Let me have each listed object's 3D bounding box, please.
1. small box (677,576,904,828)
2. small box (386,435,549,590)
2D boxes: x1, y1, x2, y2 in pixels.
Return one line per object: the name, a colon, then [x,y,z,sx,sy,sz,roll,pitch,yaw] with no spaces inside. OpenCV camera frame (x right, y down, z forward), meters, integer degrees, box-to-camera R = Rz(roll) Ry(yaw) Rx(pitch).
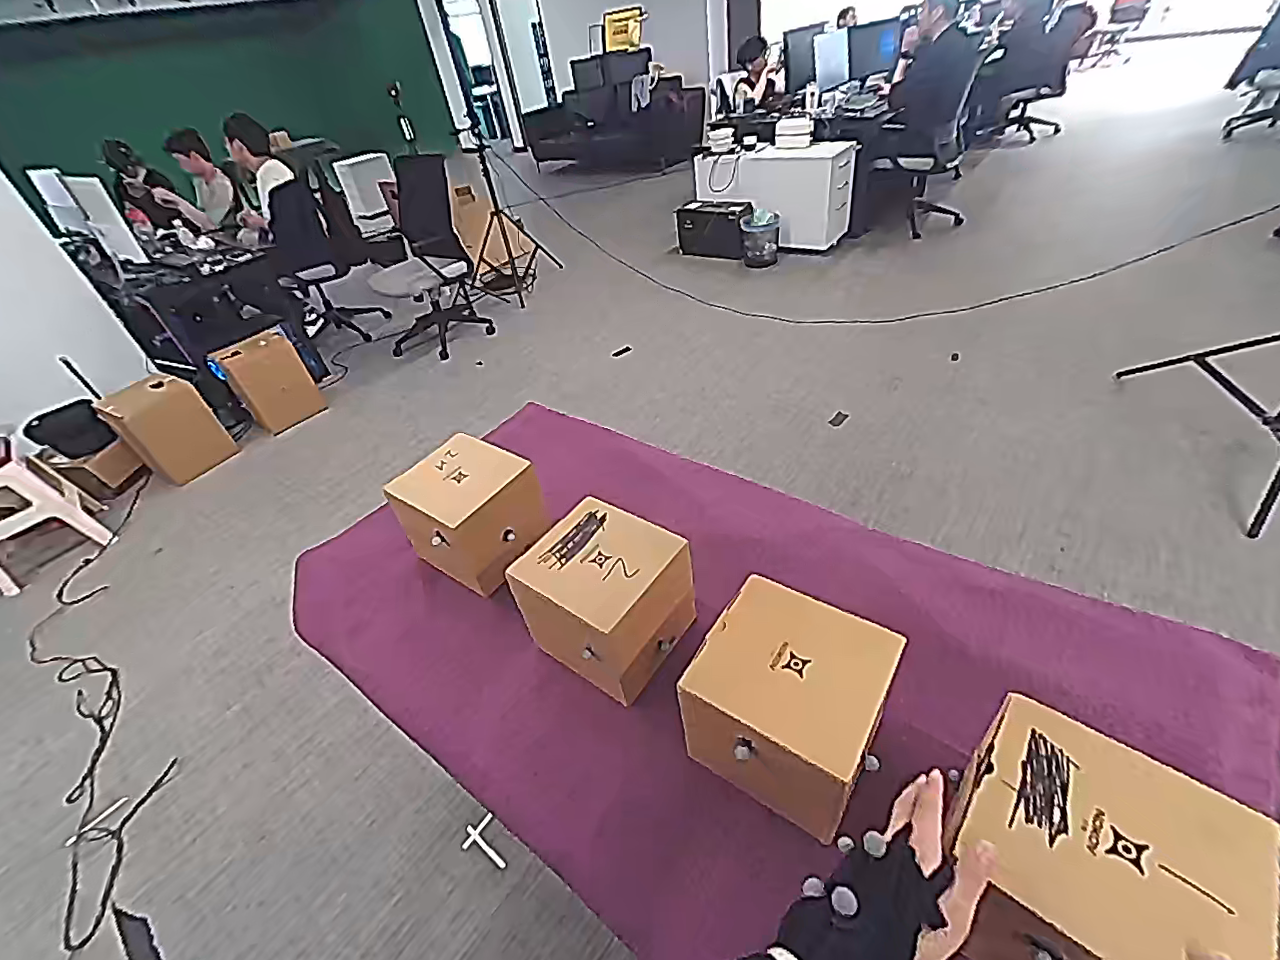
small box: [0.164,0.245,0.598,0.179,0.176,0.168,20,48,32]
small box: [-0.276,0.057,0.905,0.179,0.176,0.168,22,49,29]
